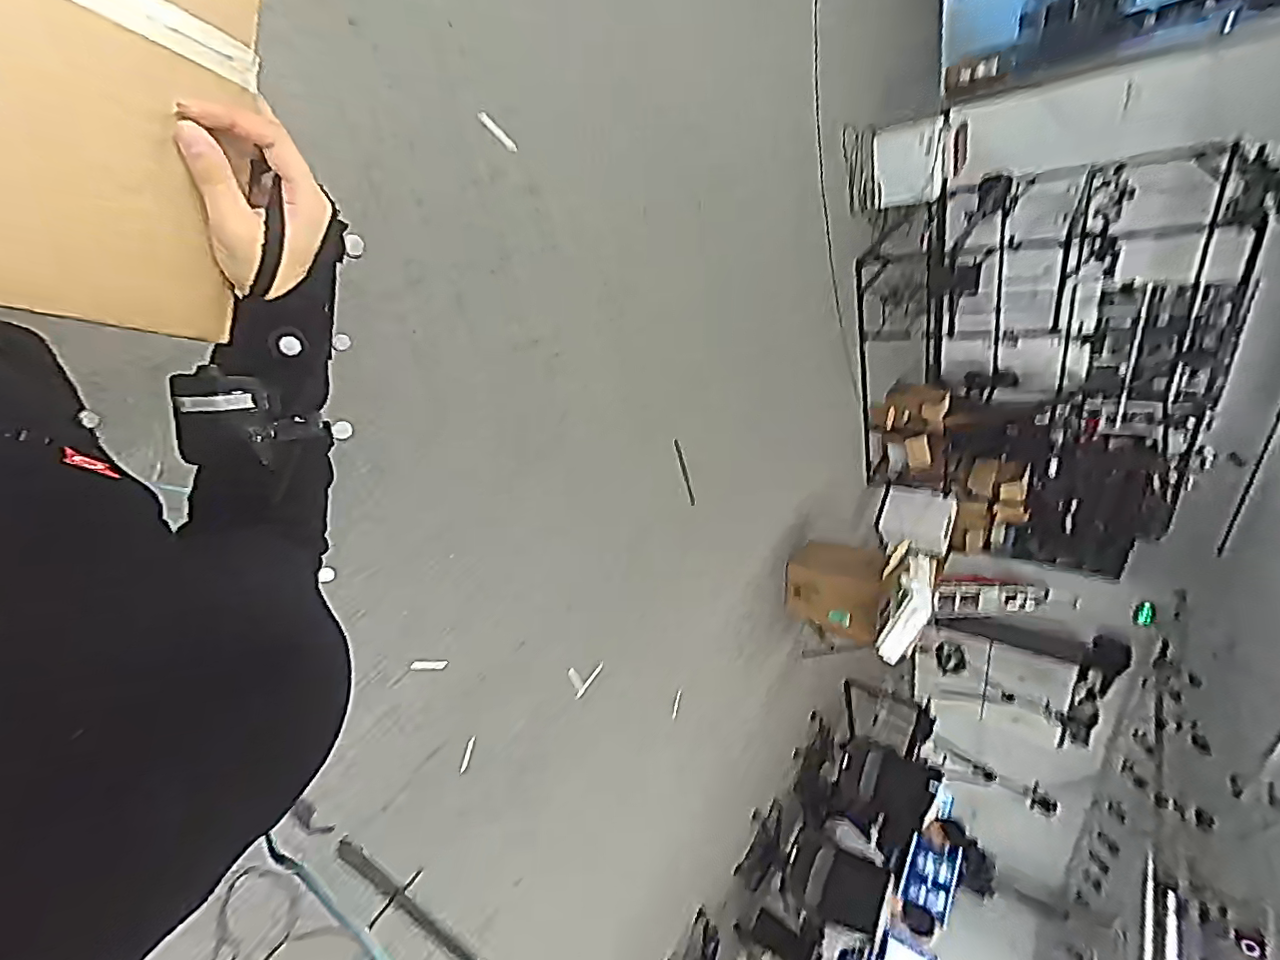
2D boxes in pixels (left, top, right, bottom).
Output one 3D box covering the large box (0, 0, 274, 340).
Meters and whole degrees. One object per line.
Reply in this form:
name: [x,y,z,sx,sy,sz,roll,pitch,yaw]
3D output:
large box: [-0.463,-0.274,0.249,0.408,0.320,0.320,1,106,-55]
